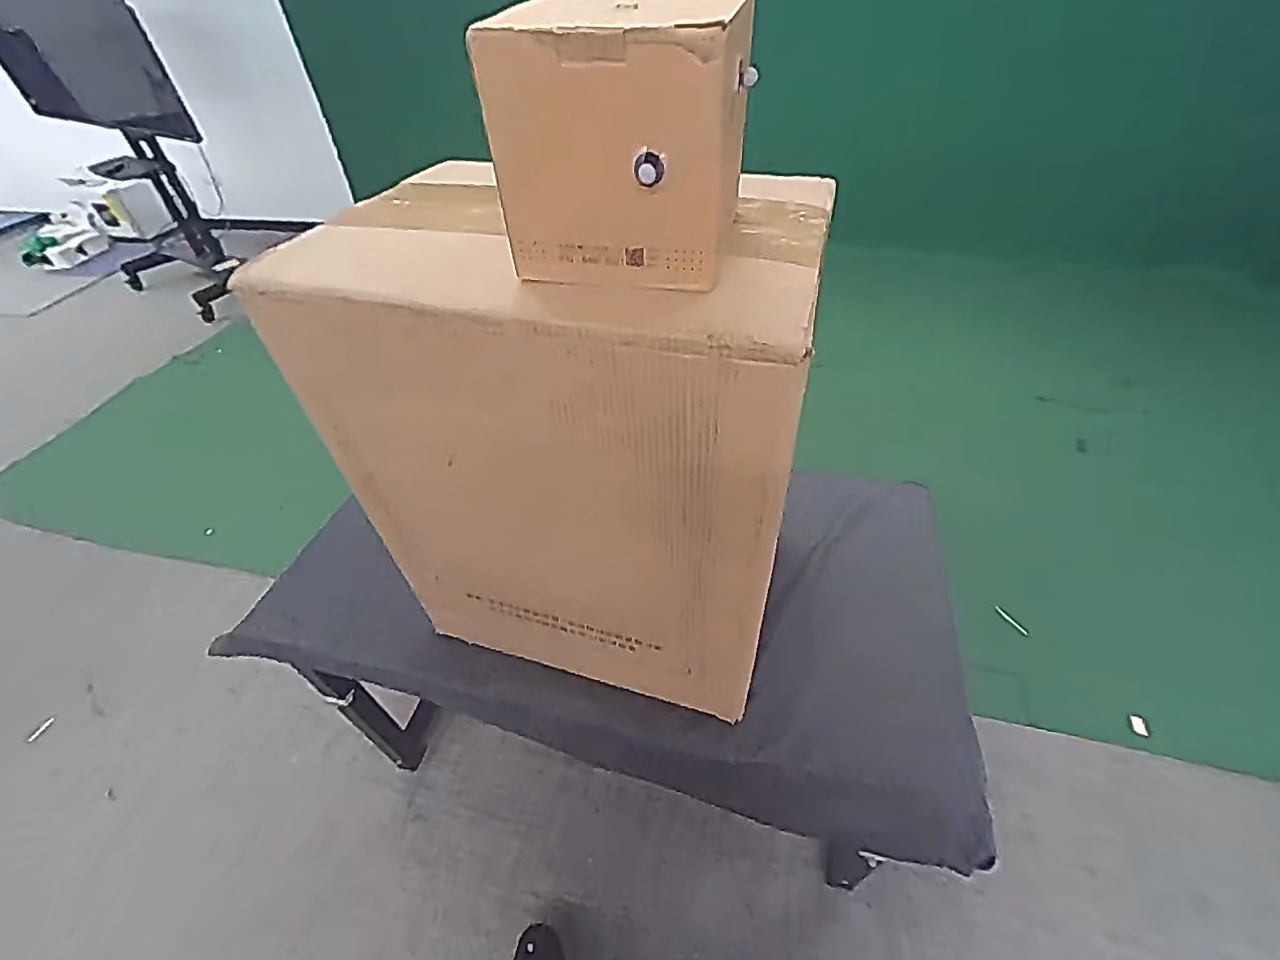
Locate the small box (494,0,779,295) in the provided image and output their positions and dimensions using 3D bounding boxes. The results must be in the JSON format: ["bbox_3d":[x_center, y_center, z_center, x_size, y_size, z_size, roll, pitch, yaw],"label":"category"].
[{"bbox_3d":[0.009,-0.266,0.428,0.168,0.176,0.179,9,48,9],"label":"small box"}]
